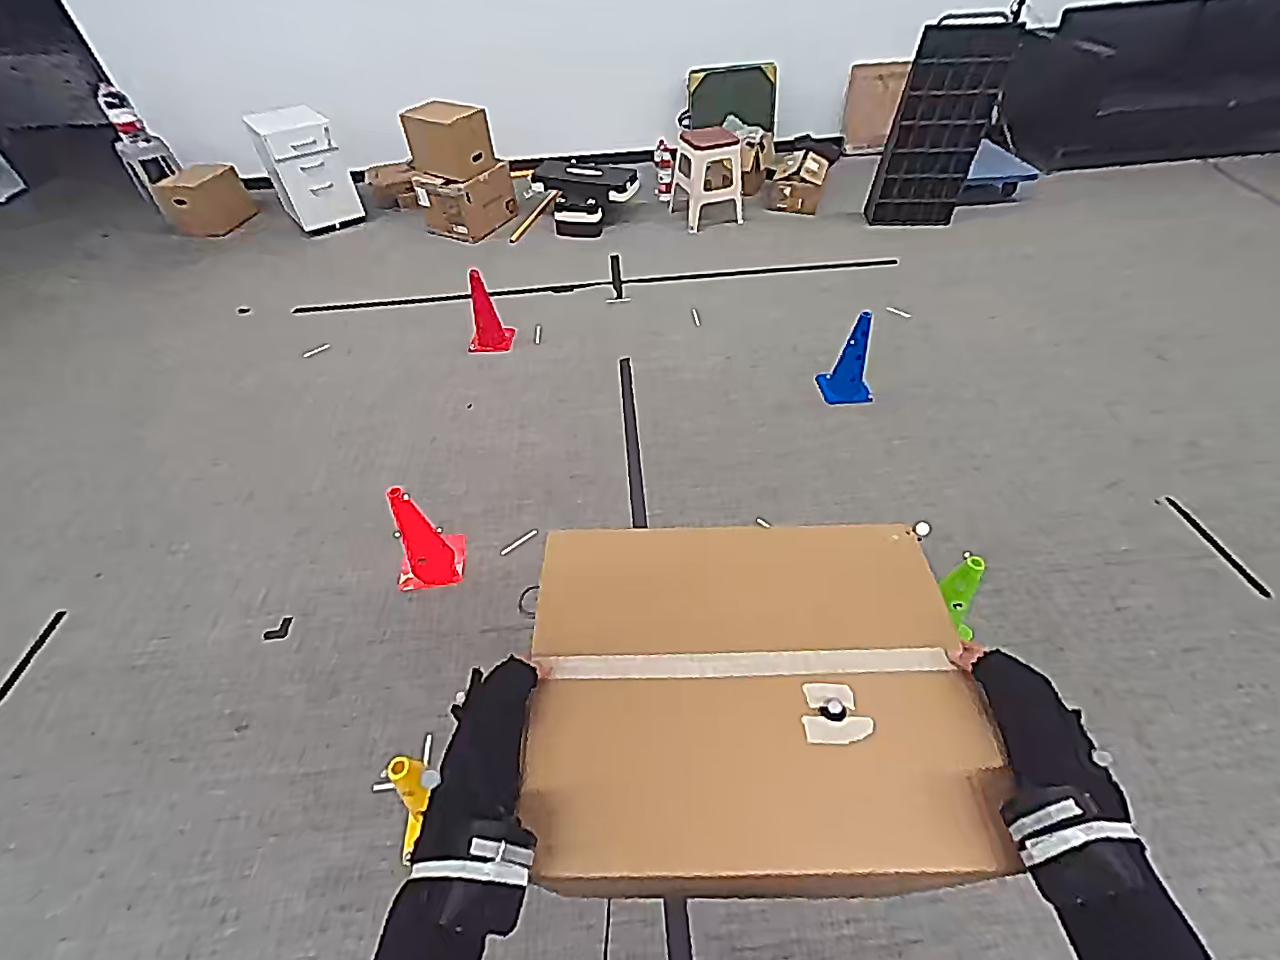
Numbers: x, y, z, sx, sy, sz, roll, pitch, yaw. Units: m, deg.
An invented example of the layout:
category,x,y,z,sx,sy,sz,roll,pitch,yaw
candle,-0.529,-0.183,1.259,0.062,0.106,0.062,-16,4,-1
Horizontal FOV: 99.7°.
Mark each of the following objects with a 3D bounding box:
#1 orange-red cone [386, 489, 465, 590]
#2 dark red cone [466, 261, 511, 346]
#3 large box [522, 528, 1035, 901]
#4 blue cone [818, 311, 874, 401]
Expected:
category,x,y,z,sx,sy,sz,roll,pitch,yaw
orange-red cone,-0.690,0.156,1.659,0.198,0.360,0.199,-8,49,-3
dark red cone,-0.740,-0.820,2.517,0.201,0.394,0.202,0,48,1
large box,0.104,0.272,0.620,0.408,0.320,0.320,-1,50,0
blue cone,0.874,-0.514,2.213,0.192,0.380,0.193,-2,48,-1
